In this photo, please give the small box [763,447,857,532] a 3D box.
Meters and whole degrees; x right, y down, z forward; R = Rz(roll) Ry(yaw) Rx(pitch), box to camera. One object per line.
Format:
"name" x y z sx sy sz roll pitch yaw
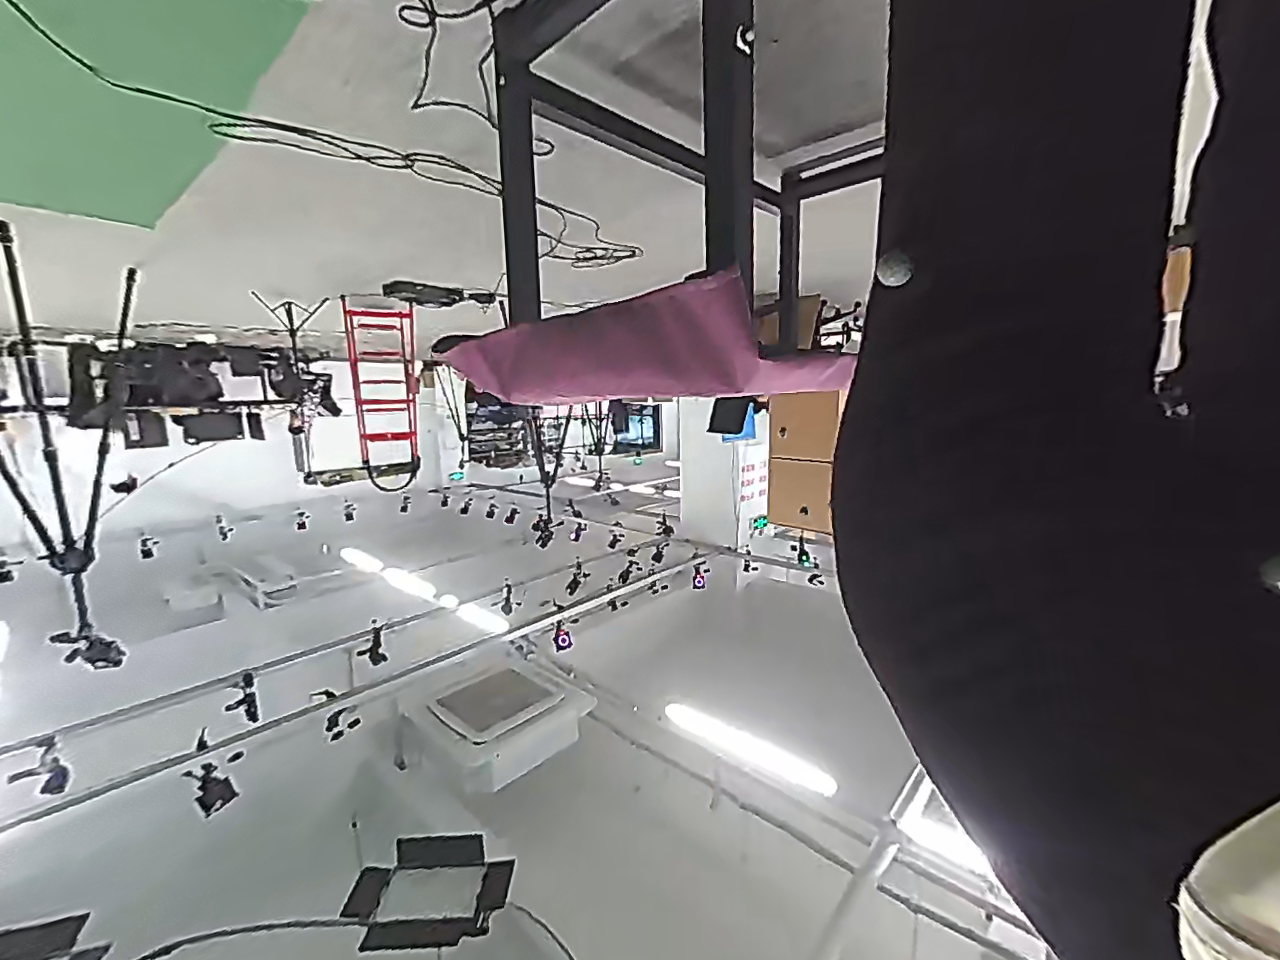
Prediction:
"small box" 0.419 0.016 1.327 0.179 0.176 0.168 9 -166 42
